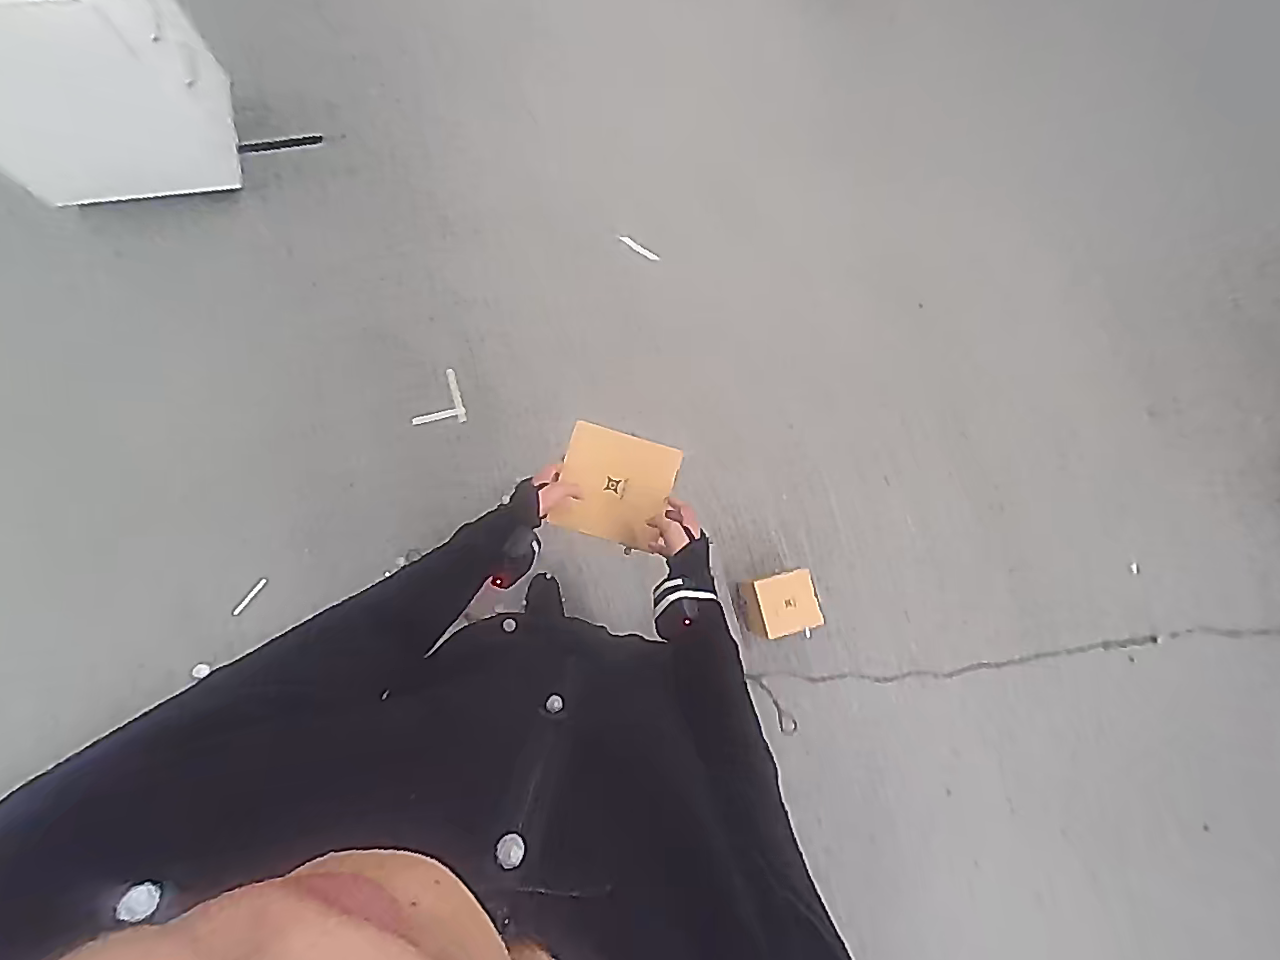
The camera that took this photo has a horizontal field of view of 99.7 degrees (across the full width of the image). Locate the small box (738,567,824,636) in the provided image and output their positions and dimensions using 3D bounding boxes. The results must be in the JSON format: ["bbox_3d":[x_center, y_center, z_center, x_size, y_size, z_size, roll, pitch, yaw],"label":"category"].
[{"bbox_3d":[0.415,0.357,1.618,0.179,0.176,0.168,-12,82,-10],"label":"small box"}]

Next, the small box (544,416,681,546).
[{"bbox_3d":[-0.047,0.006,0.903,0.179,0.176,0.168,16,86,-4],"label":"small box"}]
